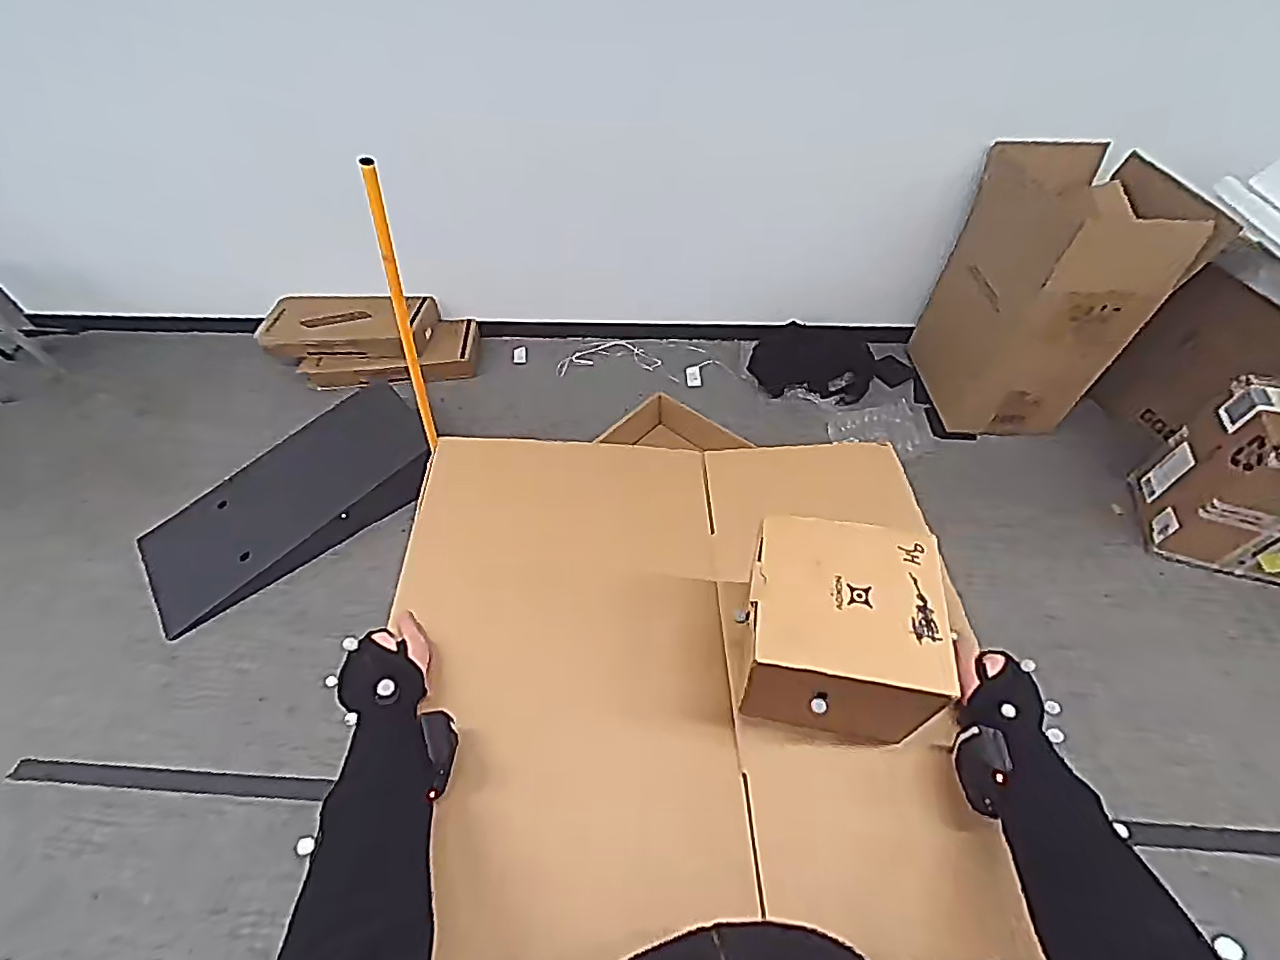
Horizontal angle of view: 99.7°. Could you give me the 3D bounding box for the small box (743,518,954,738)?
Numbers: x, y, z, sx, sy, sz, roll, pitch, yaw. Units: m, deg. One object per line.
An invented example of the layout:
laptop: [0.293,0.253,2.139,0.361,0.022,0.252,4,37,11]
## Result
small box: [0.209,0.163,0.587,0.179,0.176,0.168,6,53,11]
